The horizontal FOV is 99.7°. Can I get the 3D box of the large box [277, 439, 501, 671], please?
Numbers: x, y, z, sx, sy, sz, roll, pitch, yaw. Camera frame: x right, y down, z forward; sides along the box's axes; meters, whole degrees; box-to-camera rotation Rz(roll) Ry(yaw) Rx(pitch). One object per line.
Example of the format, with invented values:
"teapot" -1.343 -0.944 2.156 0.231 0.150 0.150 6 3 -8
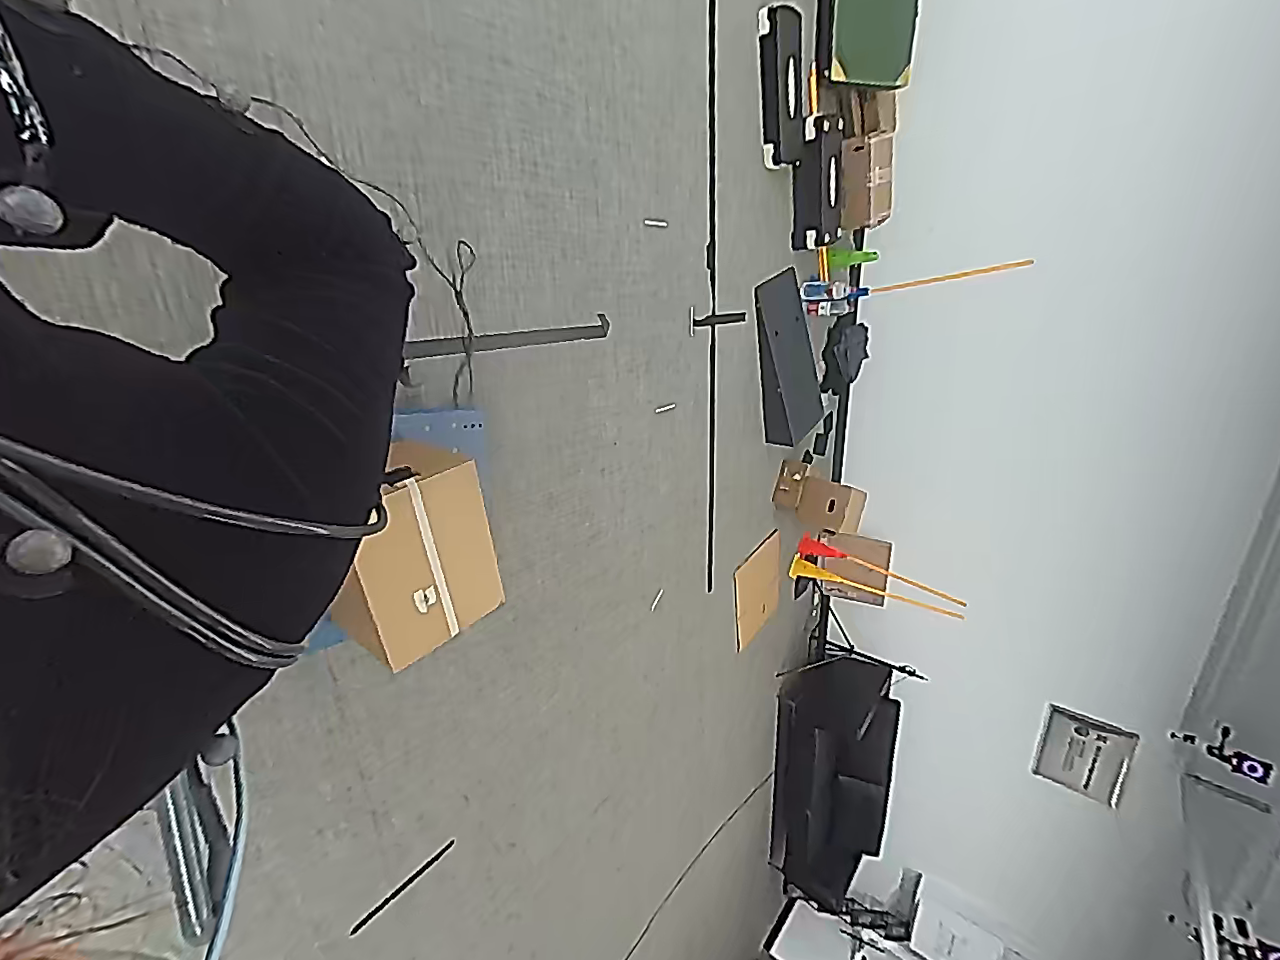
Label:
"large box" -0.584 0.156 1.293 0.320 0.320 0.408 -30 124 -43
